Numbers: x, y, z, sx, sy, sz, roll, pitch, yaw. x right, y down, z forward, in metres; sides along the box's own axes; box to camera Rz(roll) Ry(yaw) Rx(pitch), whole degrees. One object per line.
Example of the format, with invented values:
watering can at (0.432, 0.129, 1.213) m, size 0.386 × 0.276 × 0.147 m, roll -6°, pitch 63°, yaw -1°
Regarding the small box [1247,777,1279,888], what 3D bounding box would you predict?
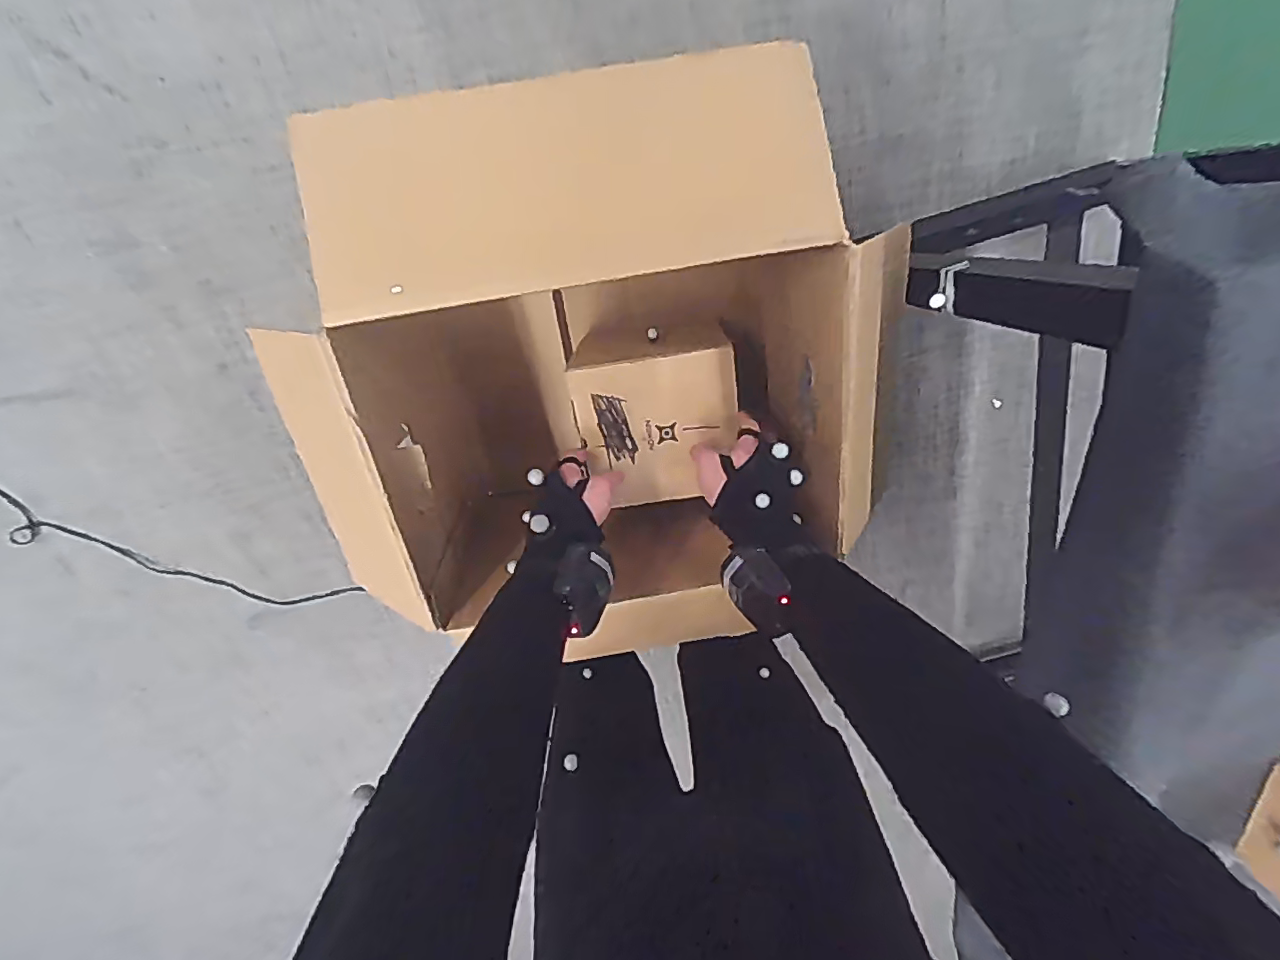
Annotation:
small box at (0.747, 0.368, 0.503) m, size 0.168 × 0.176 × 0.179 m, roll -13°, pitch 116°, yaw 0°
